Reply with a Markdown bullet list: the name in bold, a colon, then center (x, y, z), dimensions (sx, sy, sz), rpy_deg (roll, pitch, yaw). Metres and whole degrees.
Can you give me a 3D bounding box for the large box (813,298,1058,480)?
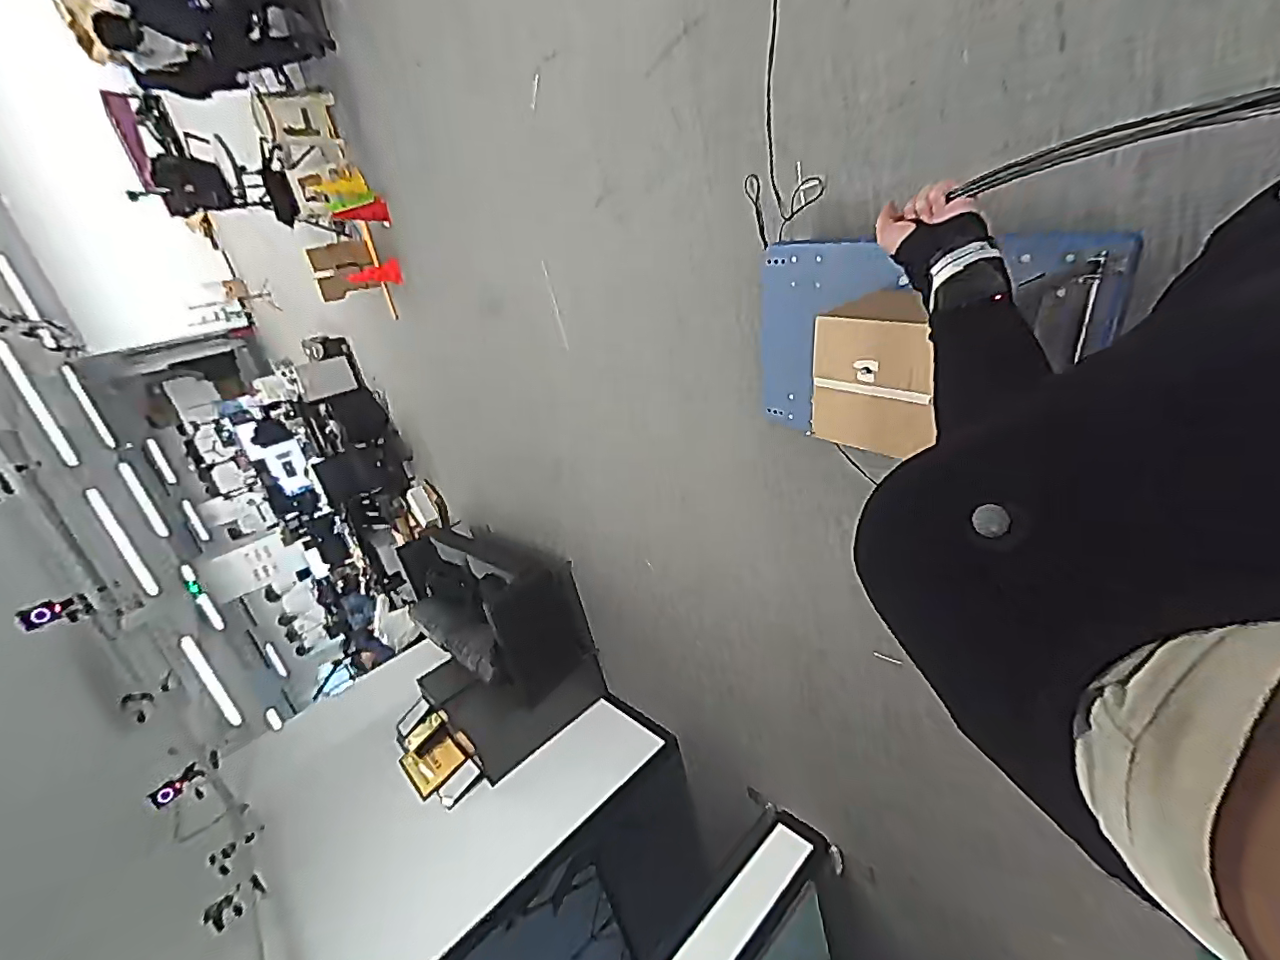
- **large box**: center (0.673, -0.239, 1.272), dimensions (0.408, 0.320, 0.320), rpy_deg (23, 129, 44)
